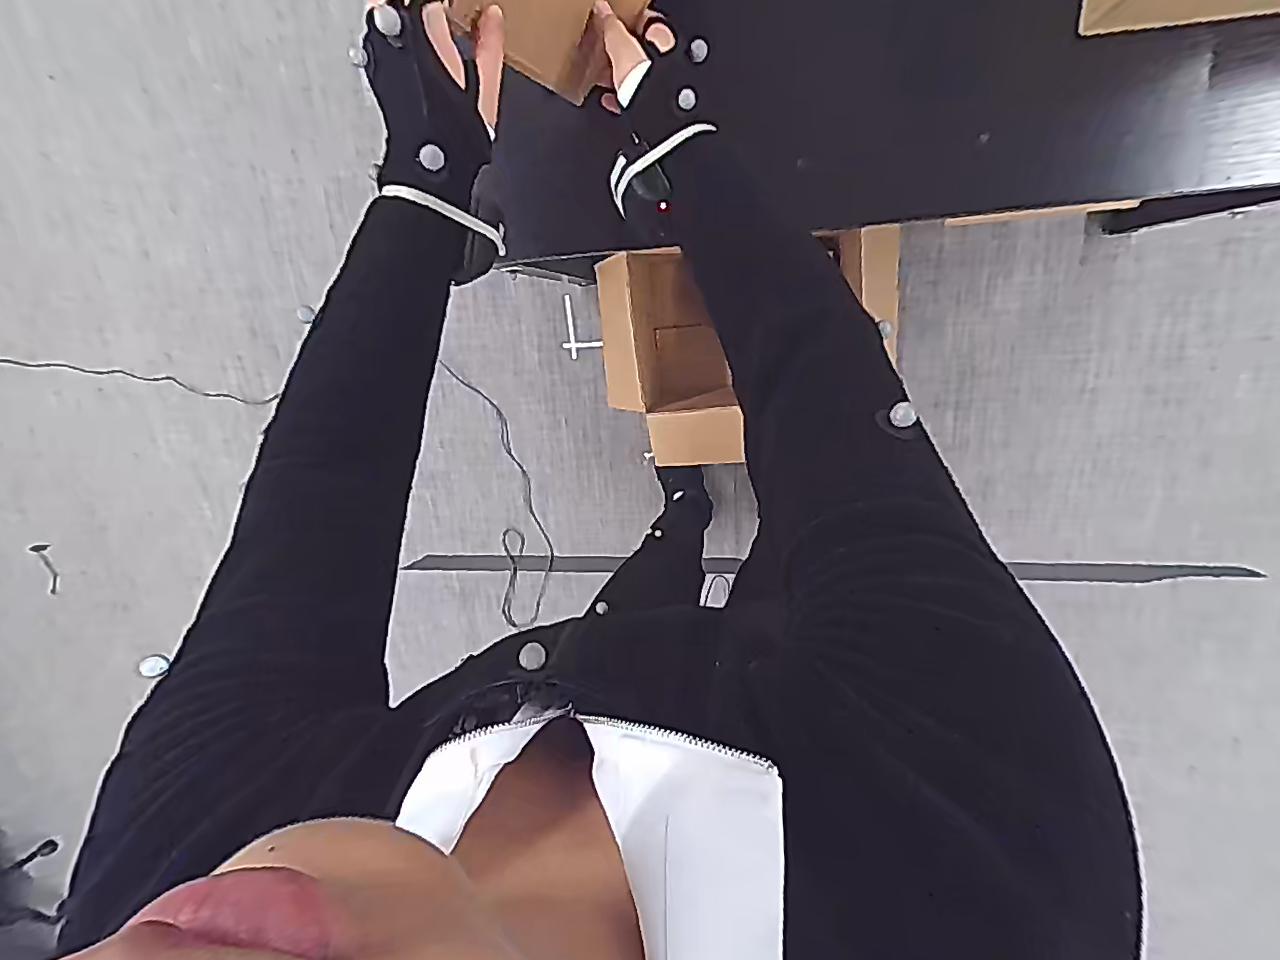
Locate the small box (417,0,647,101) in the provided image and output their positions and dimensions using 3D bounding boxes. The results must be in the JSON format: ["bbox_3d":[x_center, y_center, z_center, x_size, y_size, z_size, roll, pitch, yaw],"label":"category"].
[{"bbox_3d":[-0.090,-0.443,0.403,0.179,0.176,0.168,-40,82,33],"label":"small box"}]

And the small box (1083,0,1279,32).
[{"bbox_3d":[0.455,-0.444,0.367,0.179,0.176,0.168,0,107,8],"label":"small box"}]
